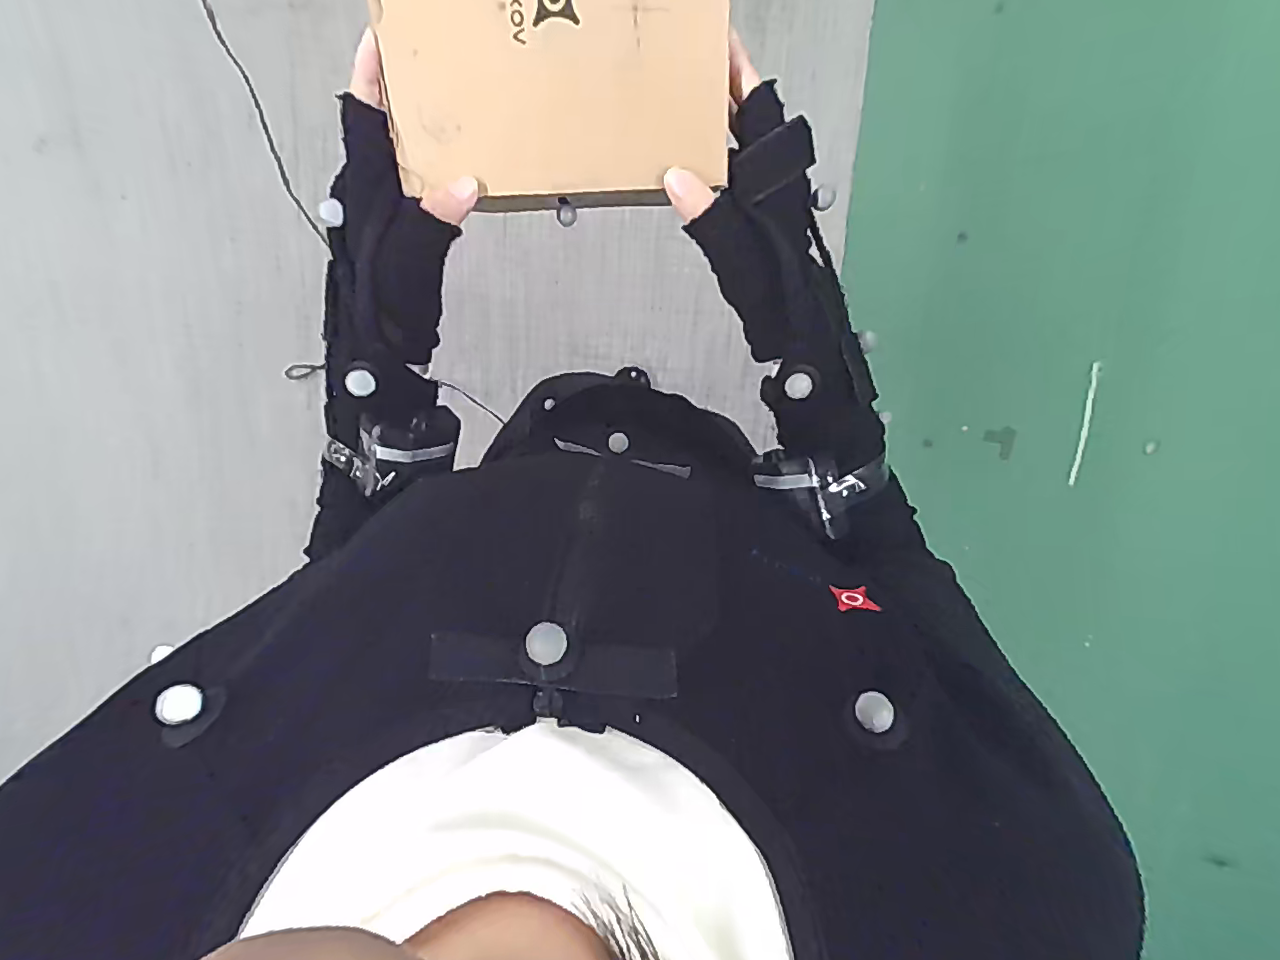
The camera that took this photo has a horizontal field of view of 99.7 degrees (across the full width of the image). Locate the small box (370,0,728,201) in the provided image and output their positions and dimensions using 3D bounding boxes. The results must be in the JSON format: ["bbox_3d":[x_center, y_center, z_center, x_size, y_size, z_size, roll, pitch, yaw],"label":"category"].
[{"bbox_3d":[-0.043,-0.268,0.329,0.179,0.176,0.168,-2,115,1],"label":"small box"}]

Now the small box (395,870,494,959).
[{"bbox_3d":[-0.438,1.032,1.231,0.168,0.176,0.179,1,99,1],"label":"small box"}]

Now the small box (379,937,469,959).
[{"bbox_3d":[-0.451,1.053,1.068,0.179,0.176,0.168,0,100,3],"label":"small box"}]
